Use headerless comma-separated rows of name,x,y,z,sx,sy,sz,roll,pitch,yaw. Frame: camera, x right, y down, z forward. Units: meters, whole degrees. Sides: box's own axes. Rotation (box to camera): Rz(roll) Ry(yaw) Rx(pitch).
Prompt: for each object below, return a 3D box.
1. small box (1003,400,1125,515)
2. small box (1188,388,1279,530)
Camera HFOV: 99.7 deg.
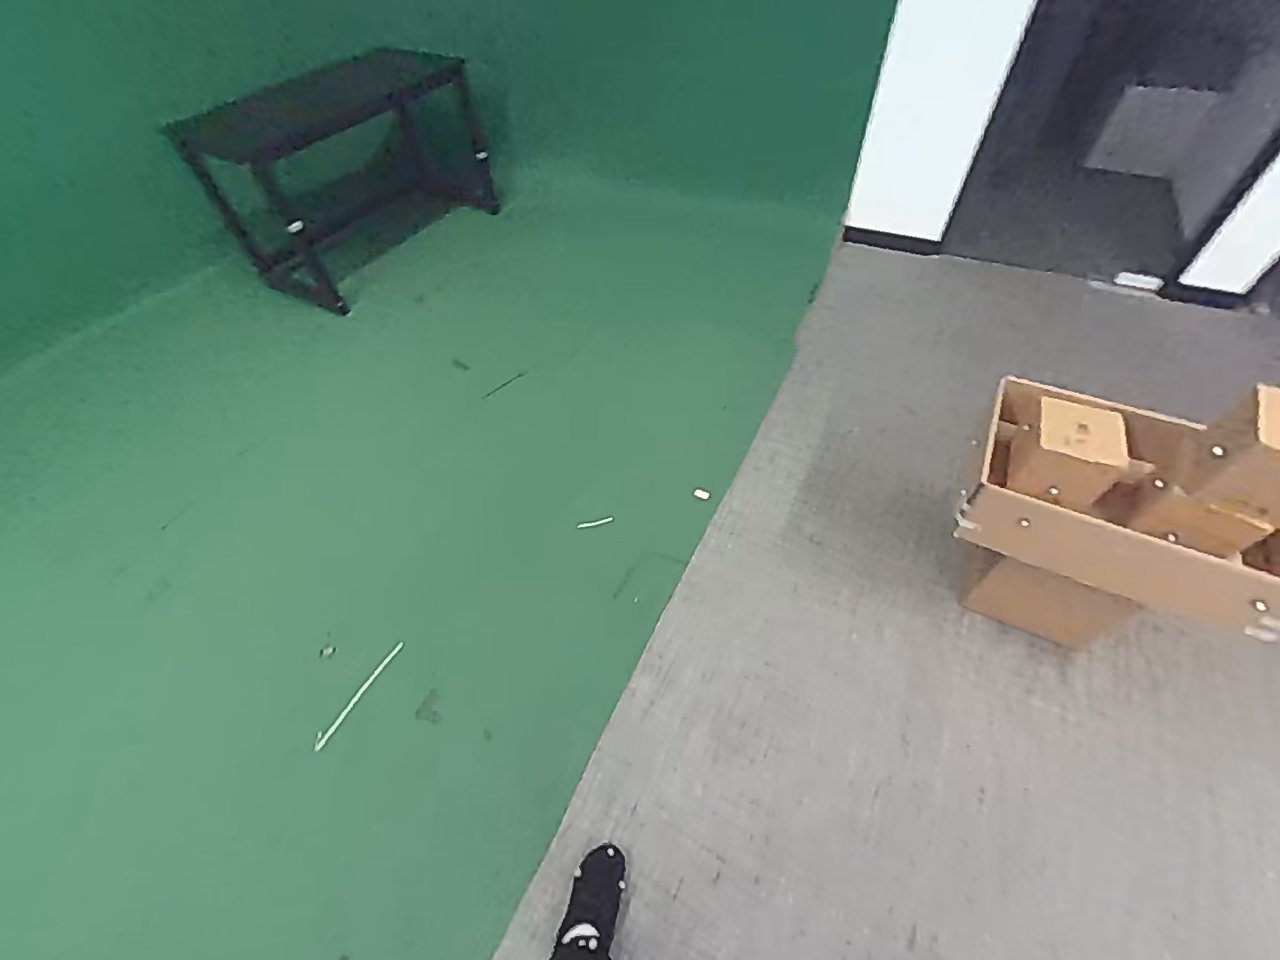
small box,0.971,-0.052,1.251,0.168,0.176,0.179,18,55,17
small box,1.194,-0.035,1.020,0.168,0.176,0.179,27,58,21
